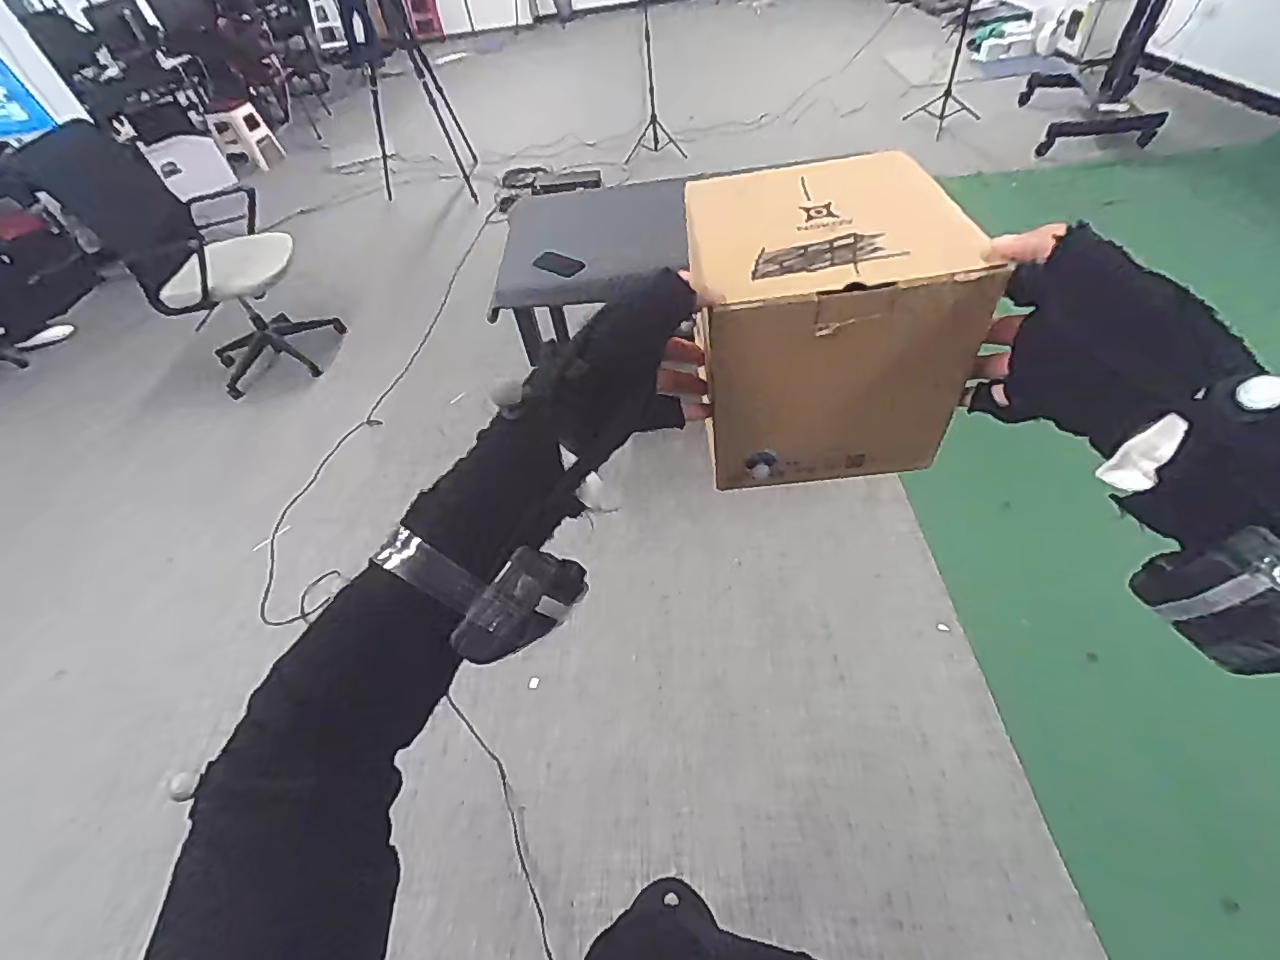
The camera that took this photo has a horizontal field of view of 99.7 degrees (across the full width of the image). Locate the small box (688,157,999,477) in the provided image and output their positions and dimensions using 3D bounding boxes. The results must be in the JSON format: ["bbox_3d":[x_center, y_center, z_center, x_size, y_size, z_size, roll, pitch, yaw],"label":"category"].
[{"bbox_3d":[0.130,-0.116,0.420,0.168,0.176,0.179,-6,50,5],"label":"small box"}]
